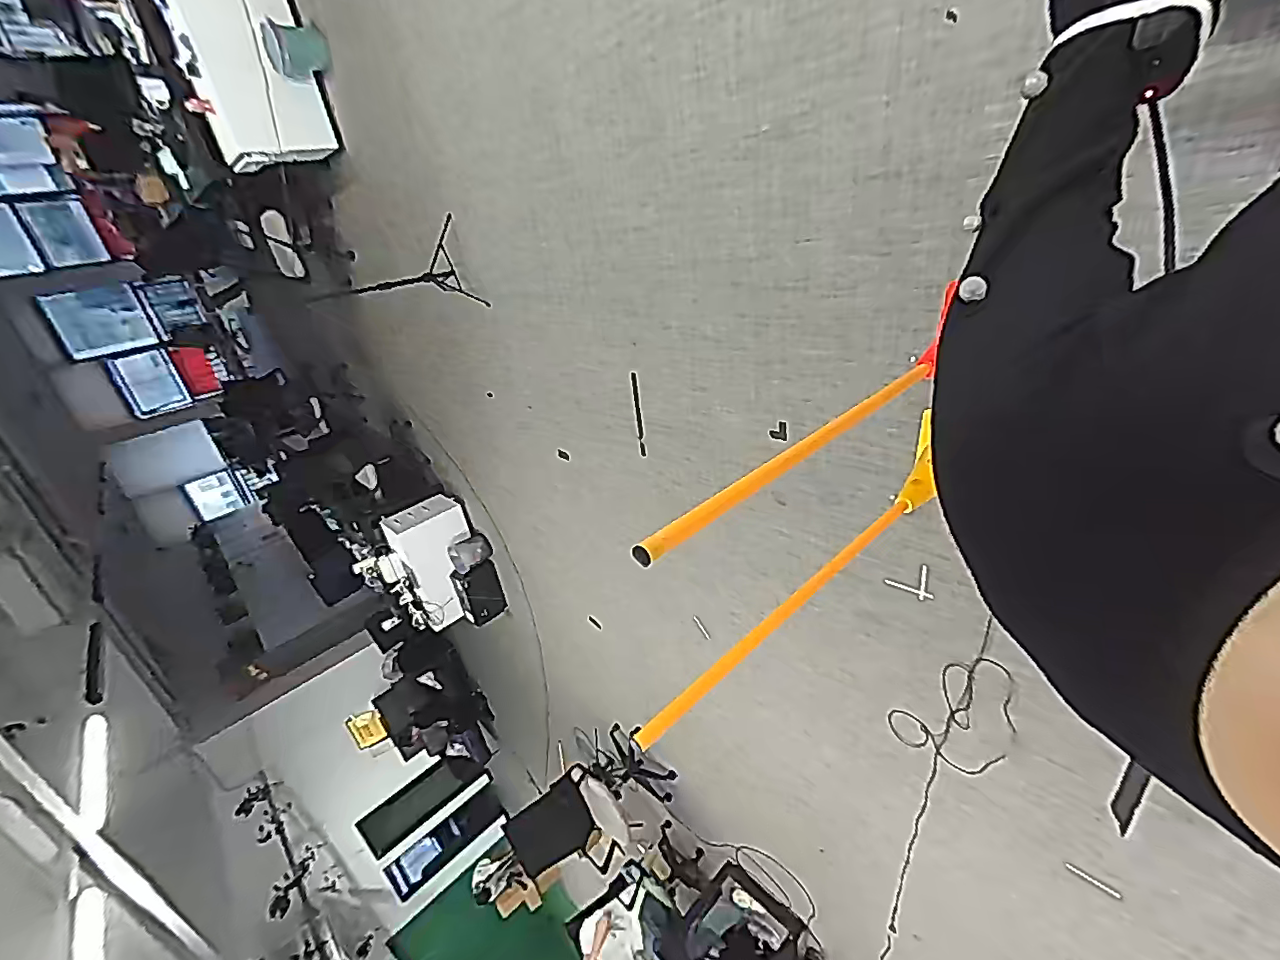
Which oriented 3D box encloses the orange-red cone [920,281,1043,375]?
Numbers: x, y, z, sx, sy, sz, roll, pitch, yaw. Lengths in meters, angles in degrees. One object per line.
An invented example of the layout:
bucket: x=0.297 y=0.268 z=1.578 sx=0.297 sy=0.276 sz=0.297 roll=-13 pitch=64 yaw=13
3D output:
orange-red cone: x=0.706 y=-0.301 z=1.195 sx=0.198 sy=0.360 sz=0.199 roll=26 pitch=131 yaw=38
